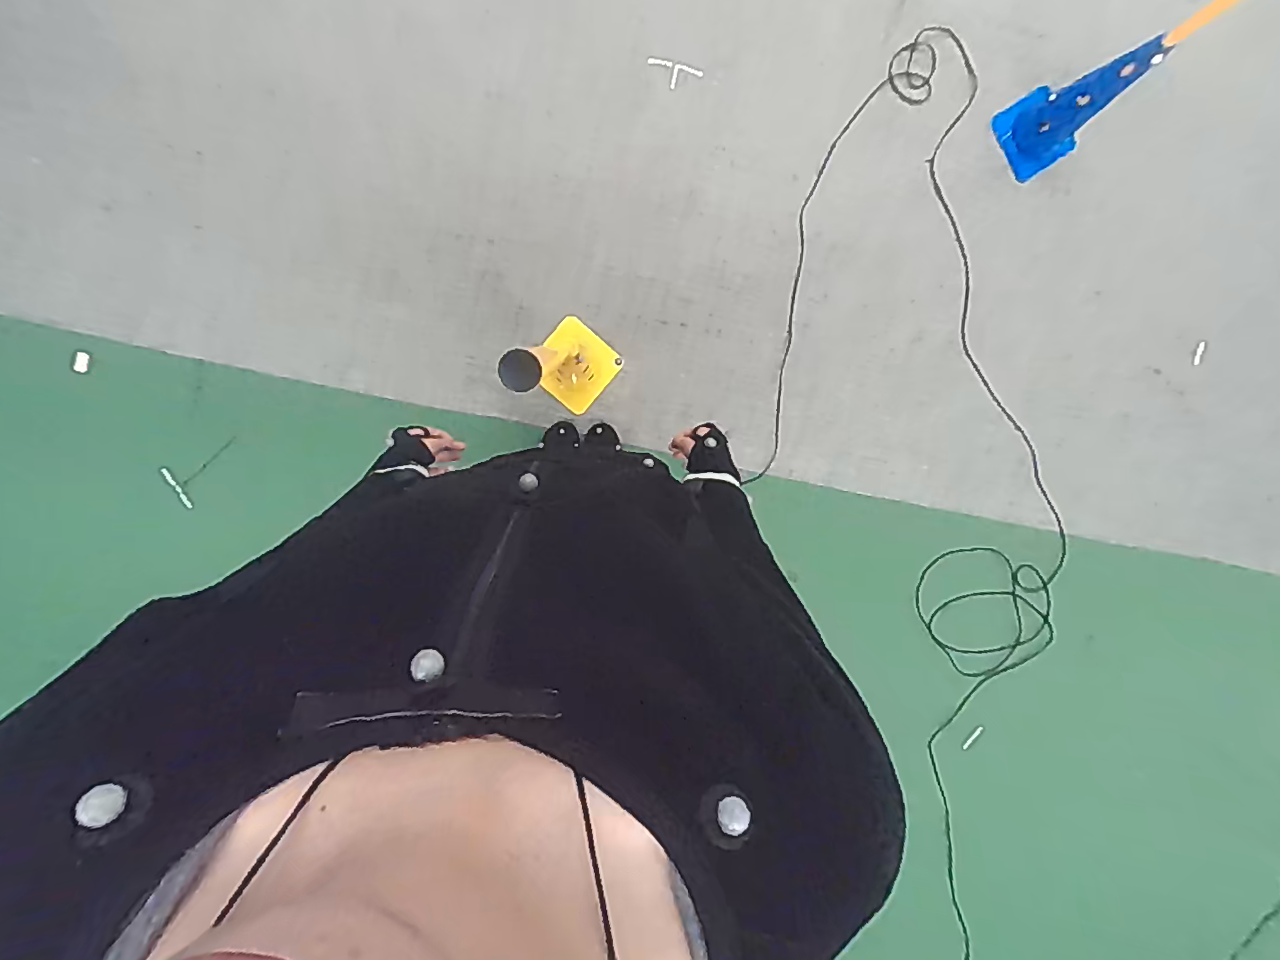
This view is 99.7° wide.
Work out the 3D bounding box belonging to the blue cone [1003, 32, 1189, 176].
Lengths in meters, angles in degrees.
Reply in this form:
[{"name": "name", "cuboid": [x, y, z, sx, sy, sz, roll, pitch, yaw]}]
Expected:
[{"name": "blue cone", "cuboid": [1.125, -0.952, 1.328, 0.193, 0.380, 0.192, -34, 97, -3]}]
